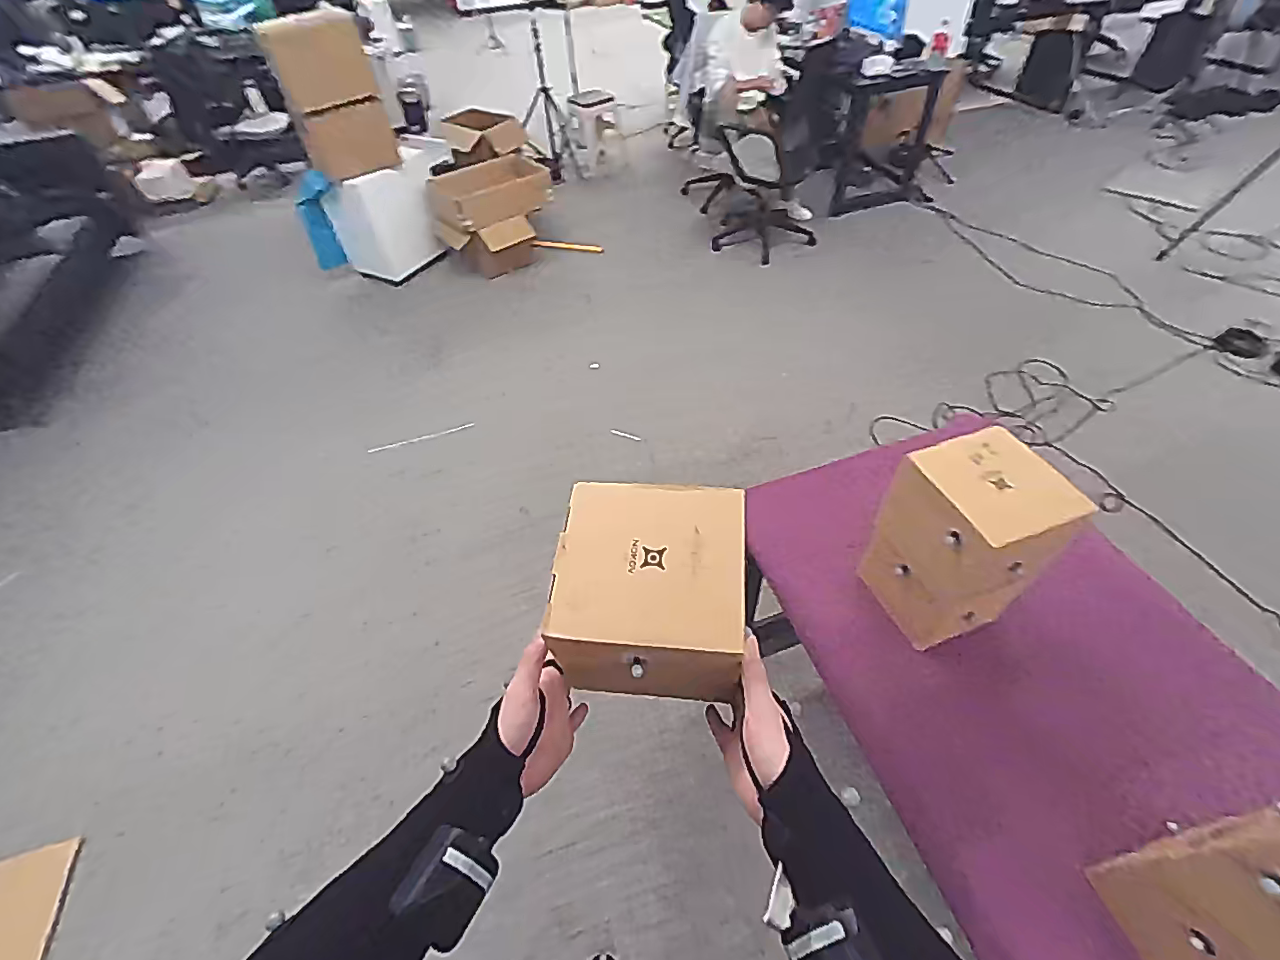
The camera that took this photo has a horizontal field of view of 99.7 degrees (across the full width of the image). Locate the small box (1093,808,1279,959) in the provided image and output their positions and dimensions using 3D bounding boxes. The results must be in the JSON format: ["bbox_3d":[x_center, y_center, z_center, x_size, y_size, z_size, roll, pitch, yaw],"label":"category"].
[{"bbox_3d":[0.680,0.506,0.608,0.168,0.176,0.179,-14,50,-8],"label":"small box"}]

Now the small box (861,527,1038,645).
[{"bbox_3d":[0.513,0.160,0.926,0.168,0.176,0.179,-18,49,-11],"label":"small box"}]

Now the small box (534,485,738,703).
[{"bbox_3d":[0.009,0.122,0.563,0.179,0.176,0.168,3,54,7],"label":"small box"}]

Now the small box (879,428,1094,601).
[{"bbox_3d":[0.489,0.057,0.797,0.168,0.176,0.179,-16,50,-10],"label":"small box"}]
